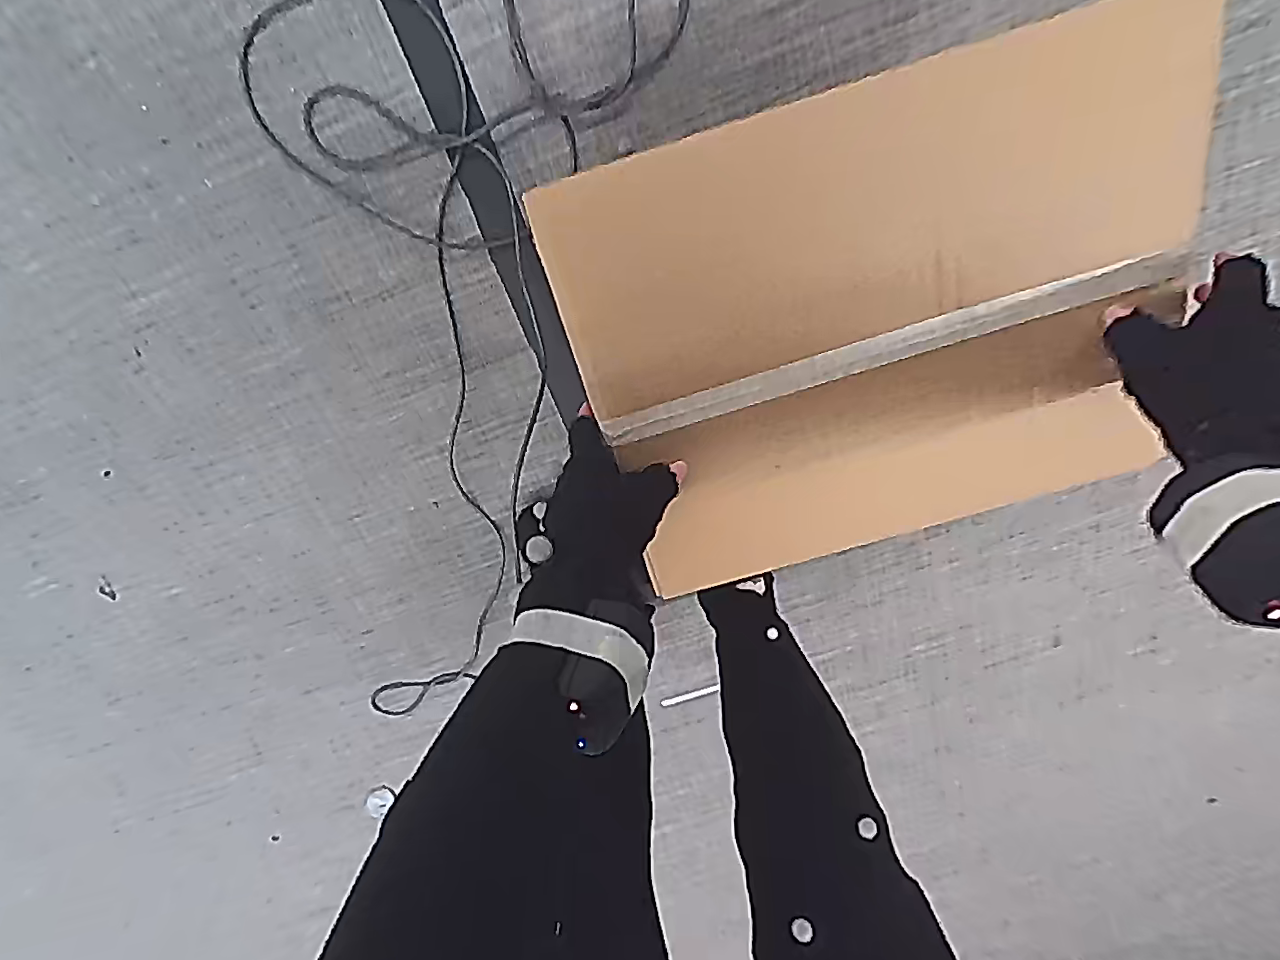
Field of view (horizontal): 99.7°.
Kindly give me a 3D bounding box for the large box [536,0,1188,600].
[{"bbox_3d":[0.156,-0.147,0.516,0.408,0.320,0.320,-17,116,4],"label":"large box"}]
